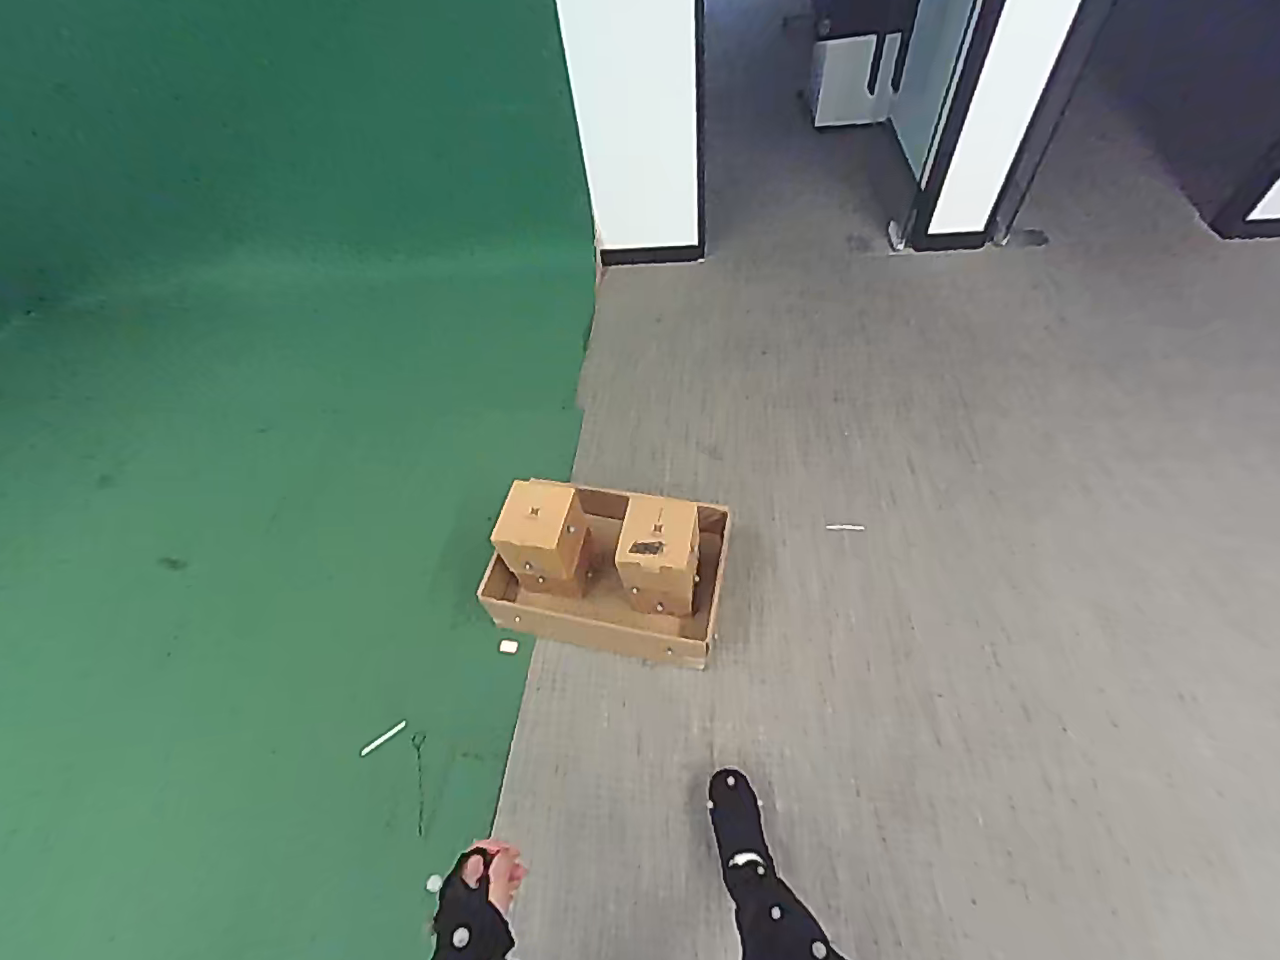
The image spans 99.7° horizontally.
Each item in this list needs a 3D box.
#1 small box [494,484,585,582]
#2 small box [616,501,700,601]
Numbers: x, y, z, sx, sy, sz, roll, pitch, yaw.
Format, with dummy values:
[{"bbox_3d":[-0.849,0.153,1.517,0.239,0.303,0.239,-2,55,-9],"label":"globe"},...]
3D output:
[{"bbox_3d":[-0.245,0.137,1.378,0.168,0.176,0.179,8,57,12],"label":"small box"},{"bbox_3d":[0.052,0.175,1.308,0.168,0.176,0.179,6,55,12],"label":"small box"}]
